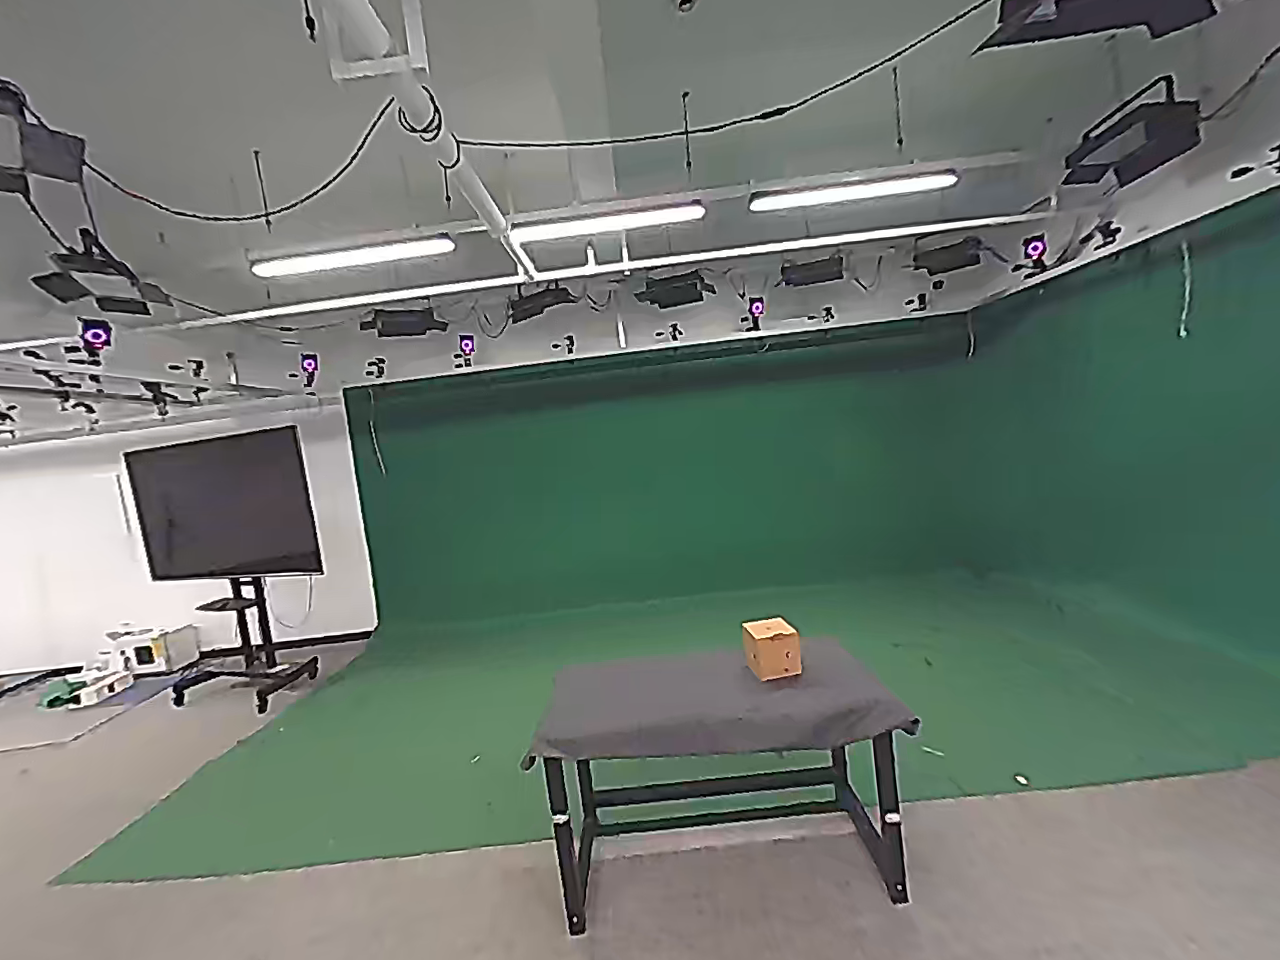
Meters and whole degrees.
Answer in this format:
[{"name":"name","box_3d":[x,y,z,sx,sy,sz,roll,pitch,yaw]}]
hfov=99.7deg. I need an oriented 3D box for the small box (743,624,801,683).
[{"name":"small box","box_3d":[0.513,0.678,2.100,0.168,0.176,0.179,-5,3,-7]}]
